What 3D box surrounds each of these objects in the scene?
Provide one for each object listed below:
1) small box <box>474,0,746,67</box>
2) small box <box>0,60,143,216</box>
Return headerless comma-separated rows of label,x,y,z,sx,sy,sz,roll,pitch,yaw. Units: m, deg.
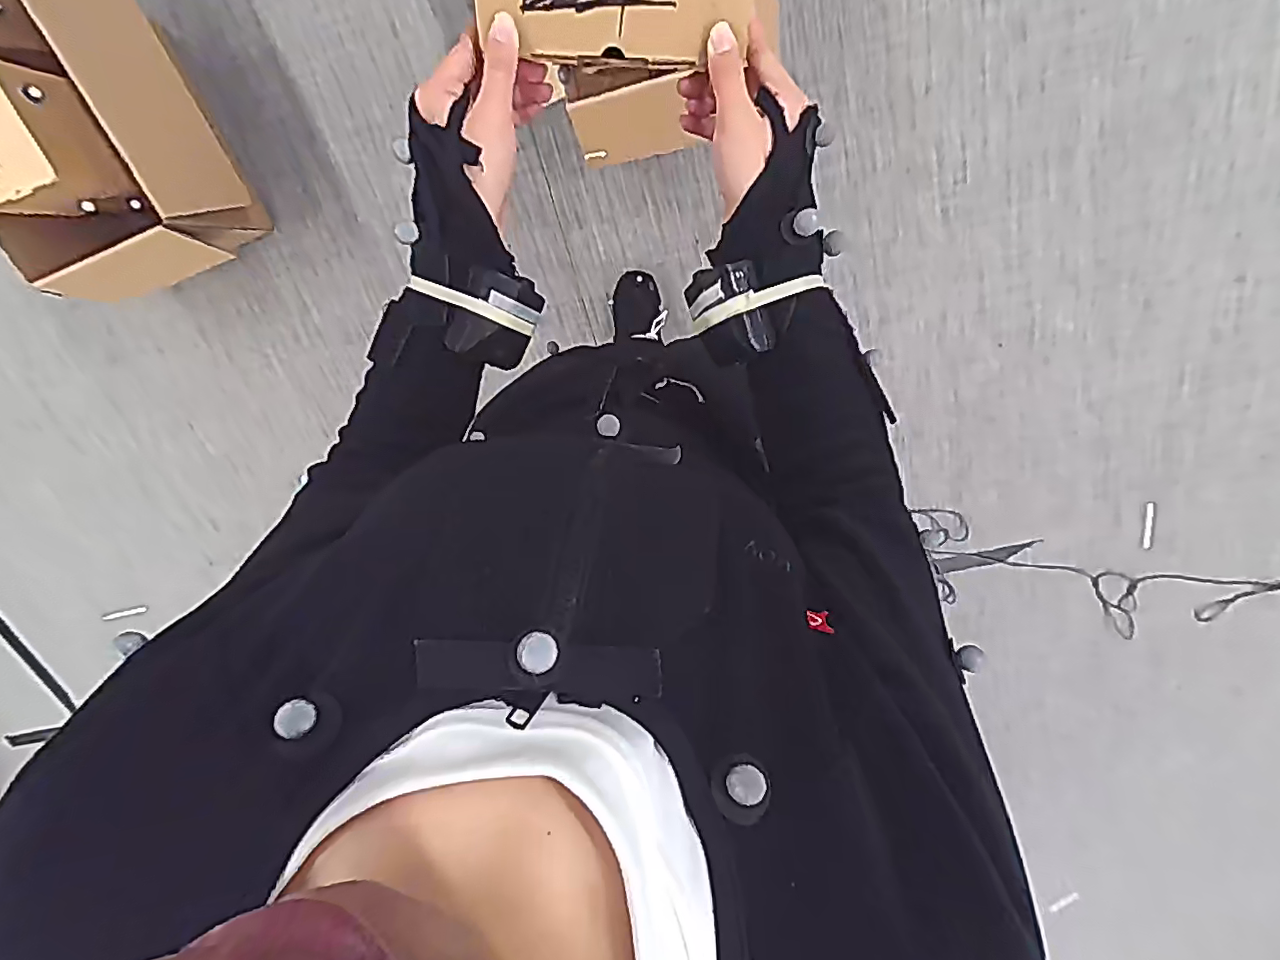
small box,-0.011,-0.379,0.346,0.168,0.176,0.179,3,126,0
small box,-1.039,-0.574,0.930,0.168,0.176,0.179,-15,111,9
